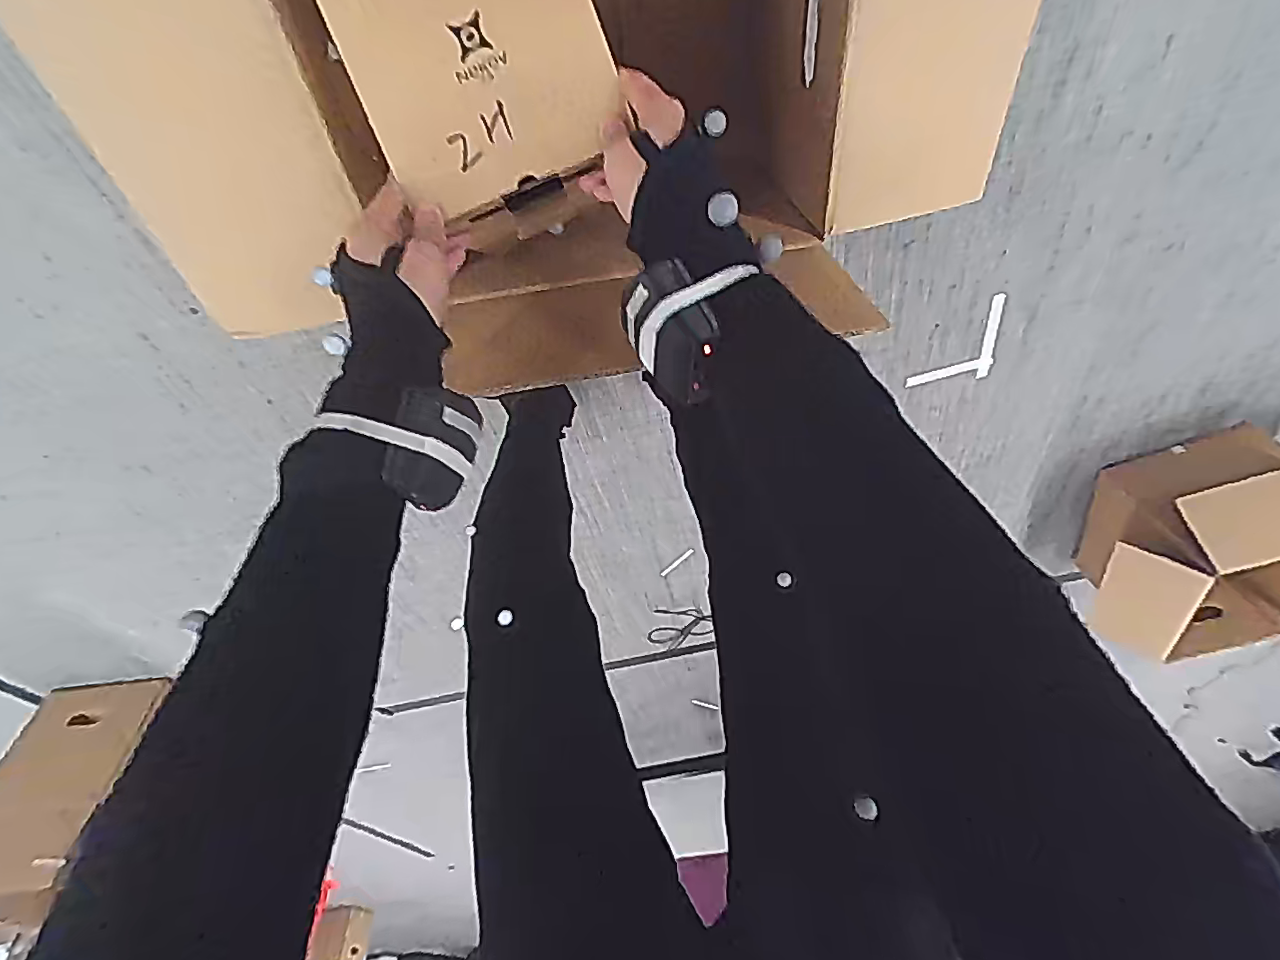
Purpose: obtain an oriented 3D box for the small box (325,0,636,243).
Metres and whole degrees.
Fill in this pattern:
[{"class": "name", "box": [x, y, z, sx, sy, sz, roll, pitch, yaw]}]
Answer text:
[{"class": "small box", "box": [-0.111, -0.313, 0.437, 0.168, 0.176, 0.179, -20, 109, 6]}]
